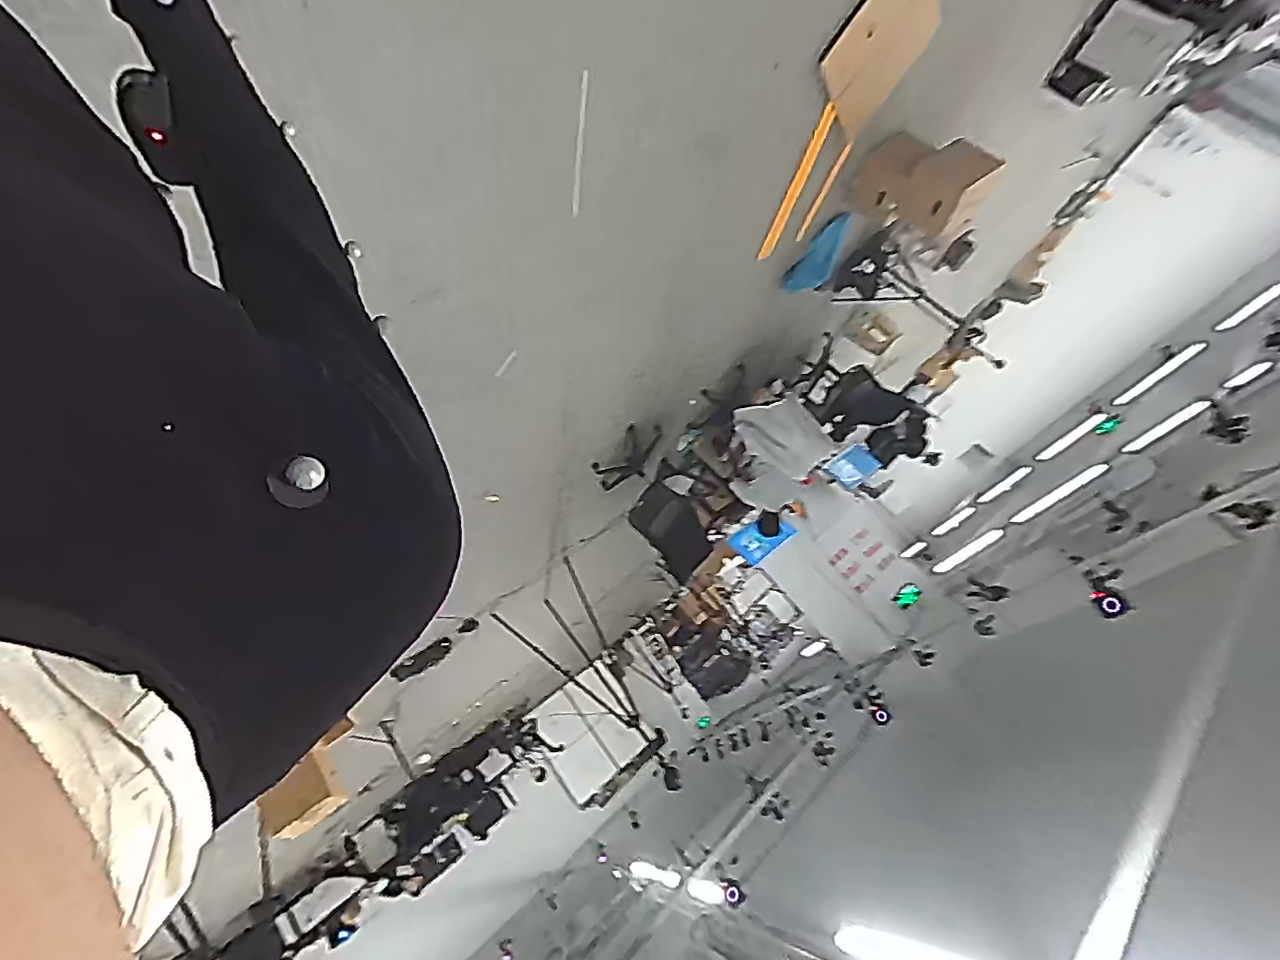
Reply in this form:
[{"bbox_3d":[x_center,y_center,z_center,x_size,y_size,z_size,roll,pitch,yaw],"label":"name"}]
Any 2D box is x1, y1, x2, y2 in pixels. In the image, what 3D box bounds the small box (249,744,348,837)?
[{"bbox_3d":[-0.992,0.900,1.573,0.168,0.176,0.179,-31,158,-27],"label":"small box"}]
